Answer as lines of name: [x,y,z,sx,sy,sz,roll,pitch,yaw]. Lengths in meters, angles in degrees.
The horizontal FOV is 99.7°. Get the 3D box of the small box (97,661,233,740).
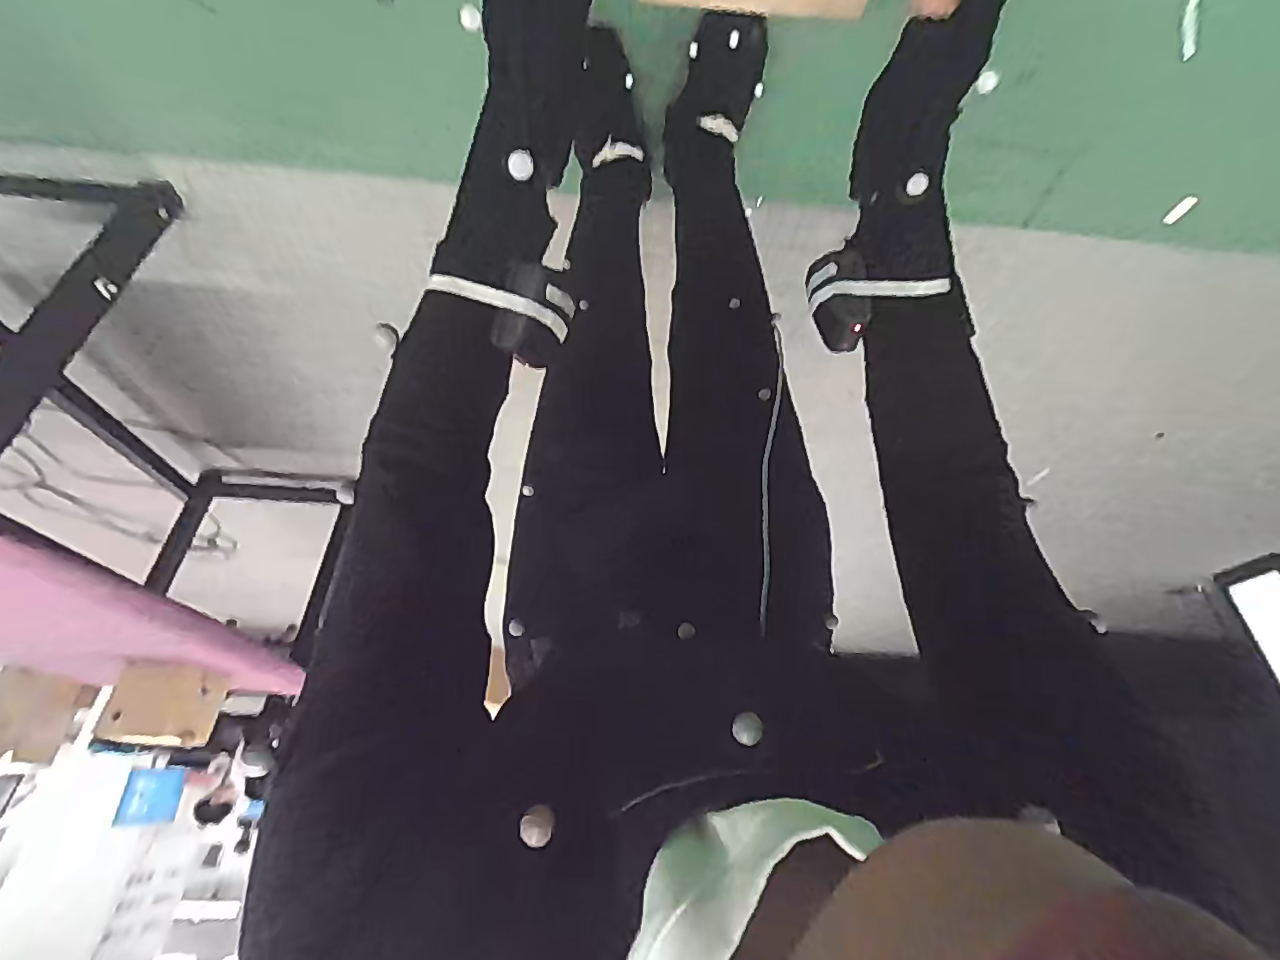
small box: [-1.221,0.573,1.407,0.179,0.176,0.168,1,149,2]
